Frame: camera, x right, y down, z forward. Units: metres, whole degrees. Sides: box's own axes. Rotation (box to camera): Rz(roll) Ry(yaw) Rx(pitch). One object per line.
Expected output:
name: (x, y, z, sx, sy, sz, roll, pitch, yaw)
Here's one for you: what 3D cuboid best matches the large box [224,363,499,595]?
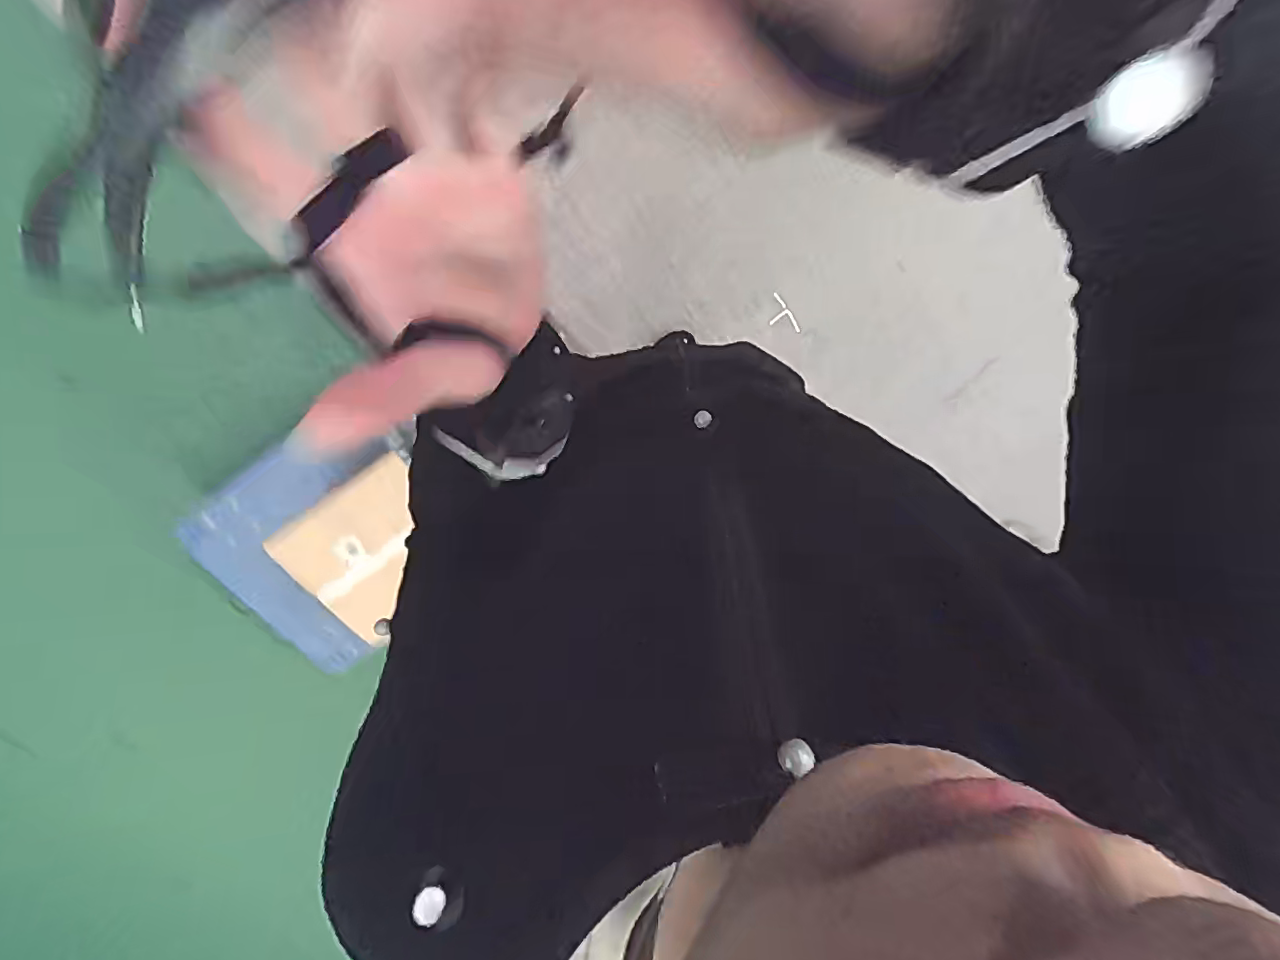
large box: (-0.582, -0.020, 1.222, 0.408, 0.320, 0.320, -26, 112, 2)
